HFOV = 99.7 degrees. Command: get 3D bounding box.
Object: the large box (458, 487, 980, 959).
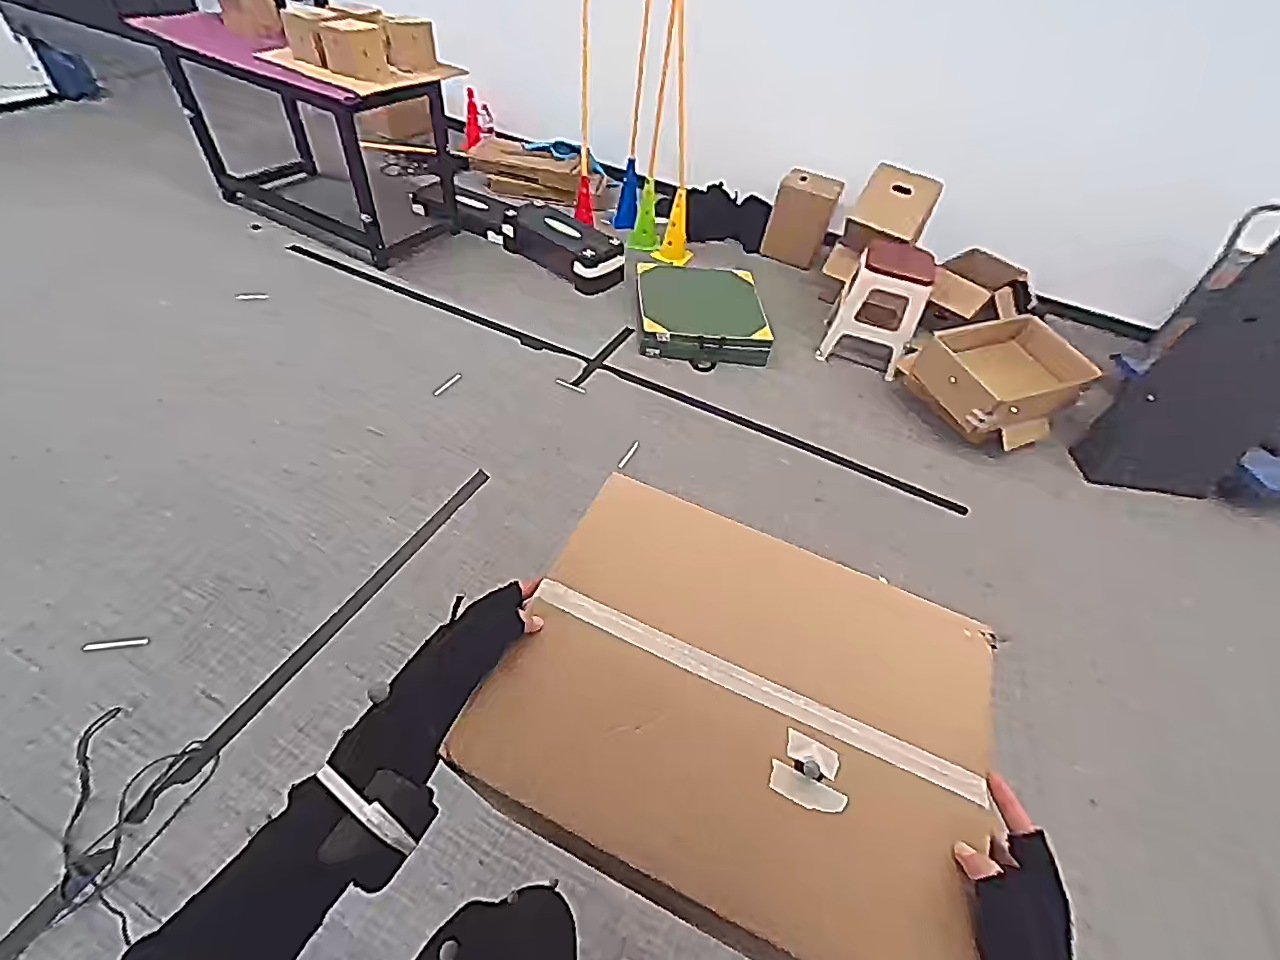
[{"bbox_3d":[0.079,0.273,0.595,0.408,0.320,0.320,22,55,11],"label":"large box"}]
